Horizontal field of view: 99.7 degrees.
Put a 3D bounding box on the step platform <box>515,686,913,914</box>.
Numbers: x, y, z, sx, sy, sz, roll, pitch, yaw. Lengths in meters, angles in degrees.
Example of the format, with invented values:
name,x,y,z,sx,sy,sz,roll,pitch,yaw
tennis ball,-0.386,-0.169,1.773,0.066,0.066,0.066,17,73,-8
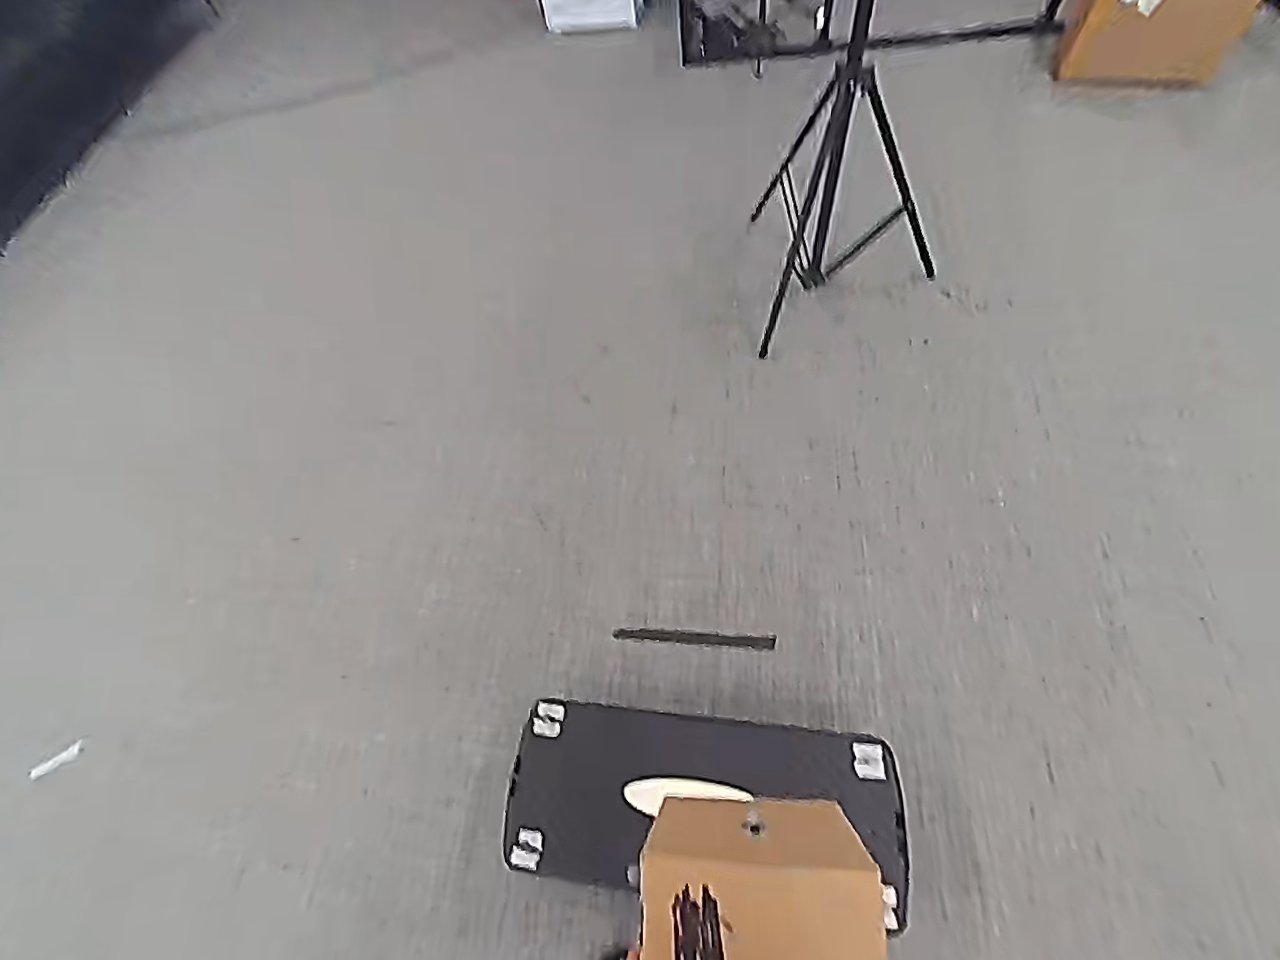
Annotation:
name,x,y,z,sx,sy,sz,roll,pitch,yaw
step platform,0.122,0.567,0.998,0.684,0.204,0.286,2,61,10
